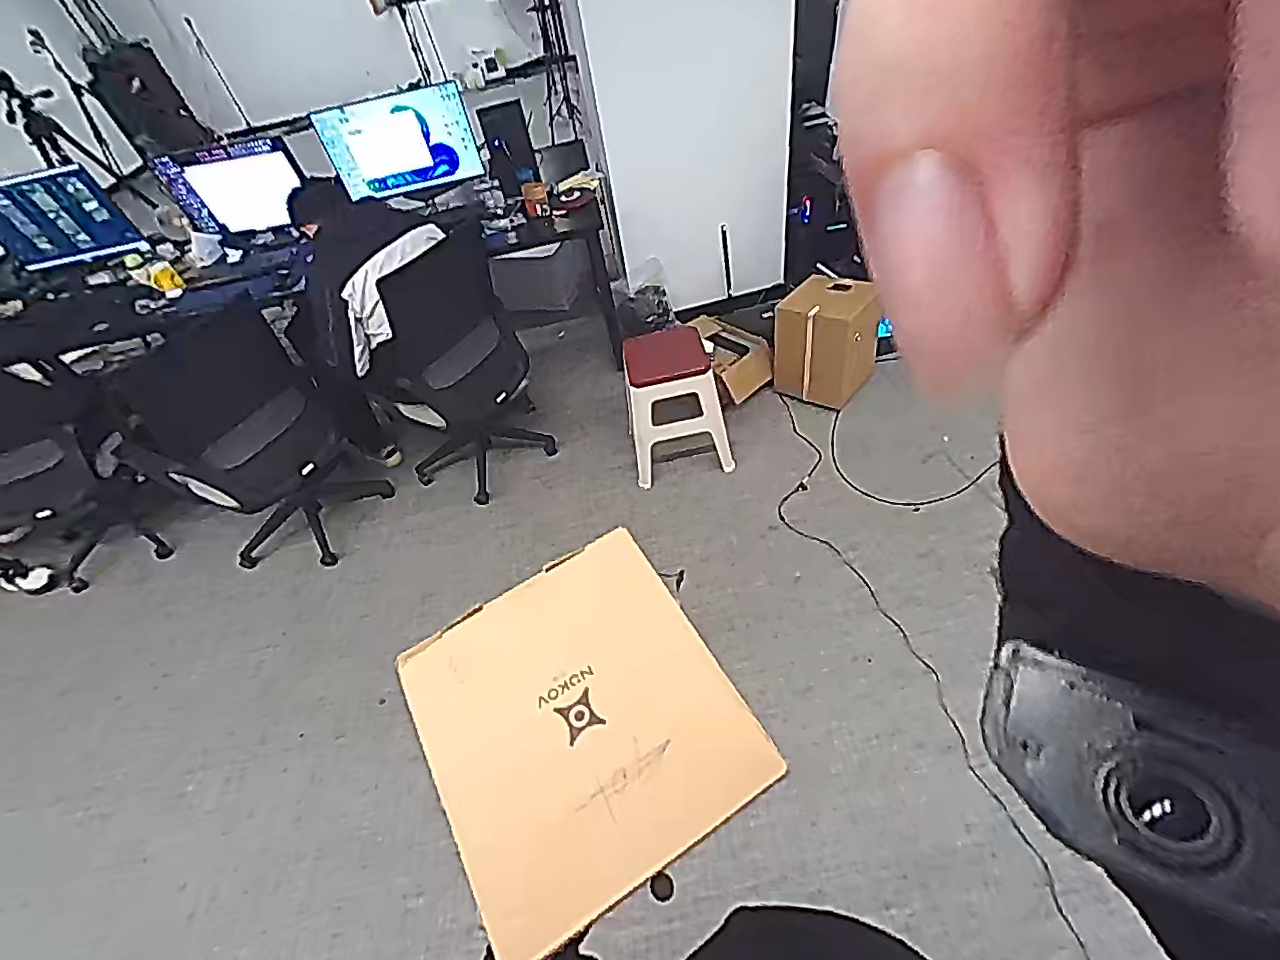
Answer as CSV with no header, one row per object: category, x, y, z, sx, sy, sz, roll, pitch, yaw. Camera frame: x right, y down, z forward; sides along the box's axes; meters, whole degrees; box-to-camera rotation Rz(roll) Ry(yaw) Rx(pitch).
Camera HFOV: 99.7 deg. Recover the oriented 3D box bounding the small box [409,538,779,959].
small box,-0.030,0.179,0.383,0.168,0.176,0.179,-29,60,-12
